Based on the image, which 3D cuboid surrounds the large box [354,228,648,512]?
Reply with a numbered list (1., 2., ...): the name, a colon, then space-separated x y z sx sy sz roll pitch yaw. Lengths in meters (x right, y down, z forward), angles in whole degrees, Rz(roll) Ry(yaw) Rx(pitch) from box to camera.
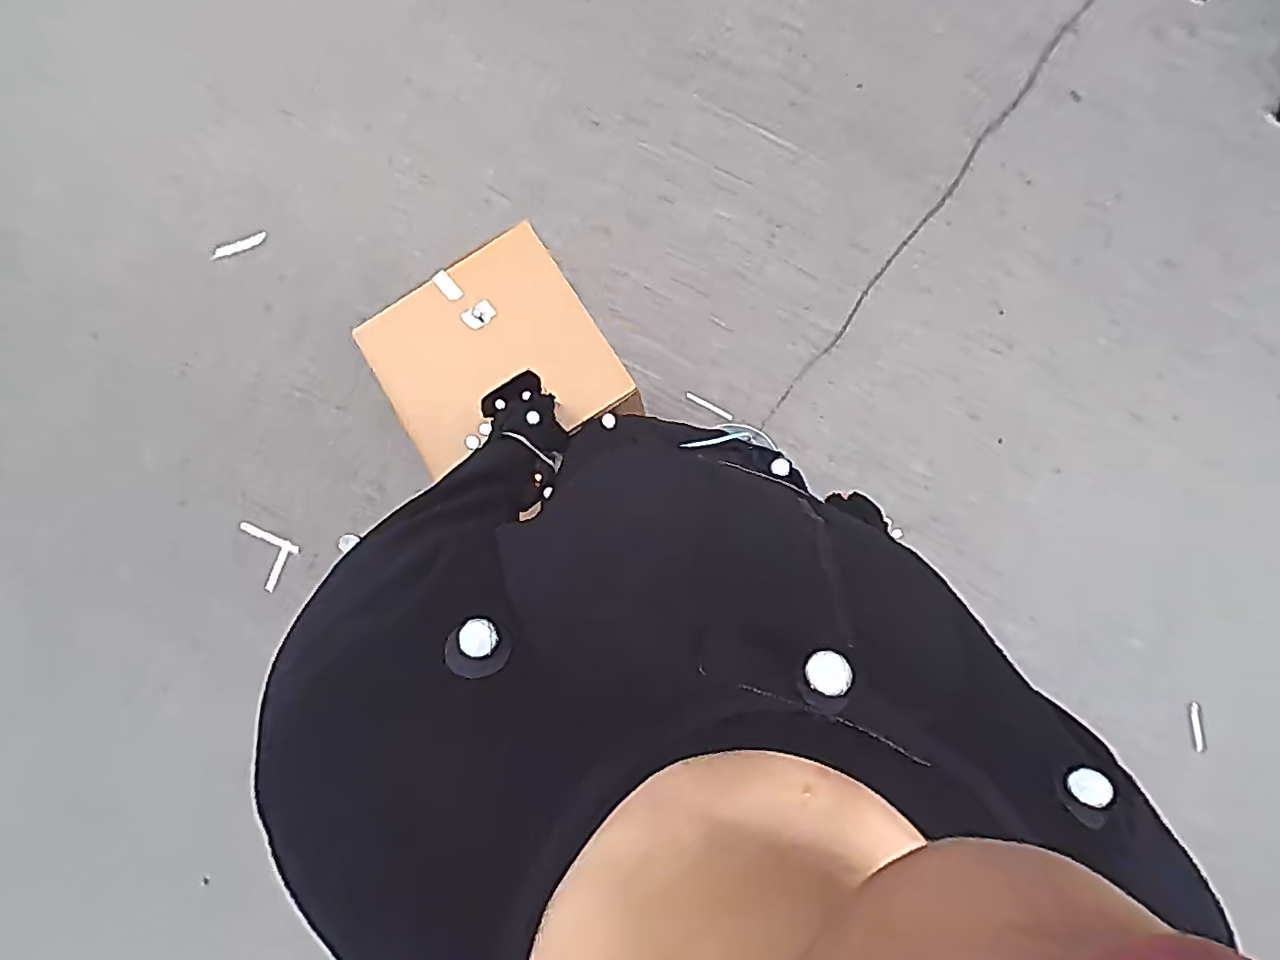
1. large box: -0.211 -0.158 0.979 0.320 0.408 0.320 -33 82 1
